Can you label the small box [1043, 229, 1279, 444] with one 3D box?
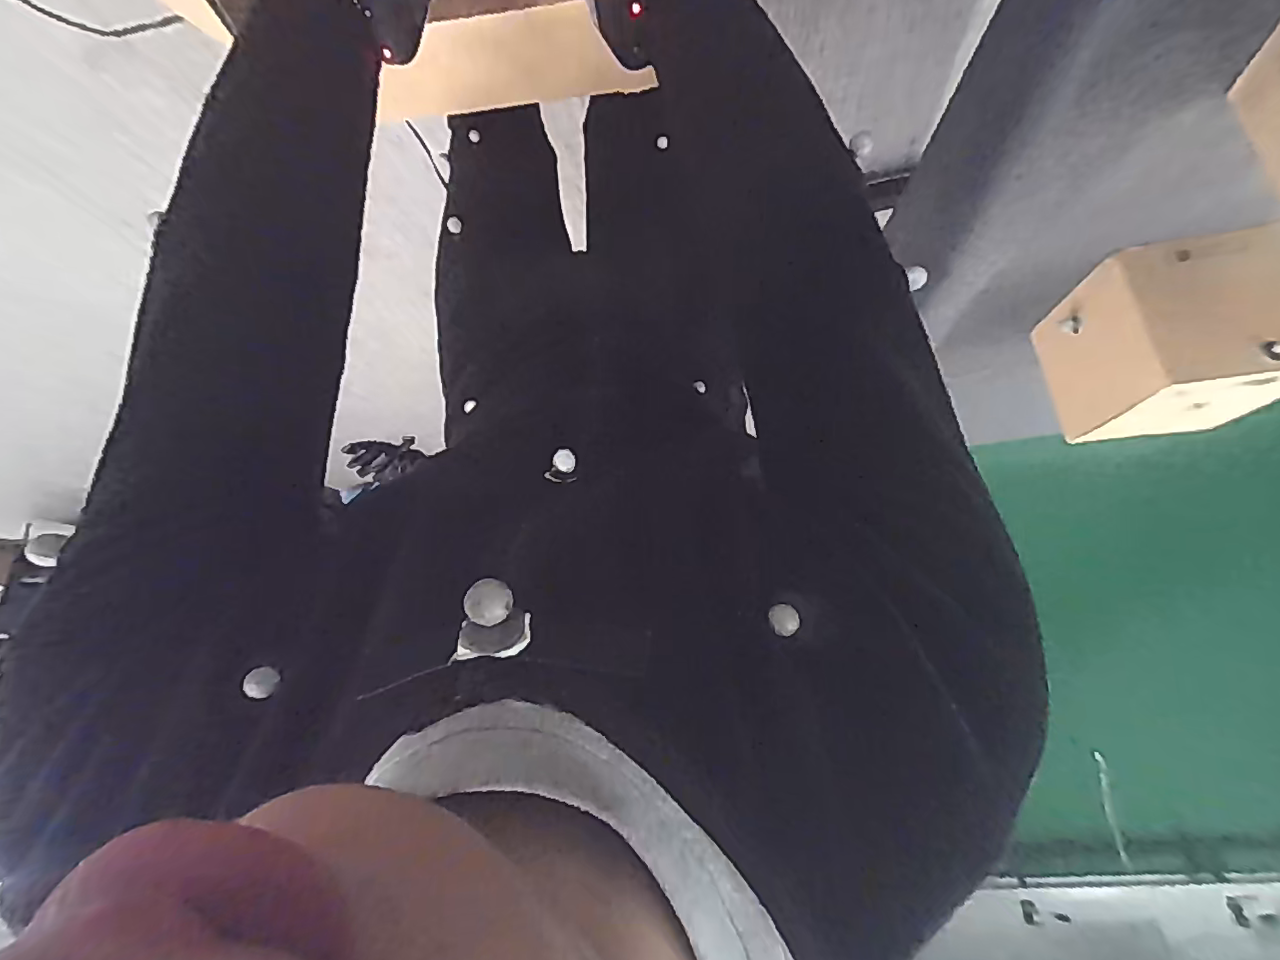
[{"bbox_3d":[0.612,-0.155,0.630,0.168,0.176,0.179,-7,164,7],"label":"small box"}]
